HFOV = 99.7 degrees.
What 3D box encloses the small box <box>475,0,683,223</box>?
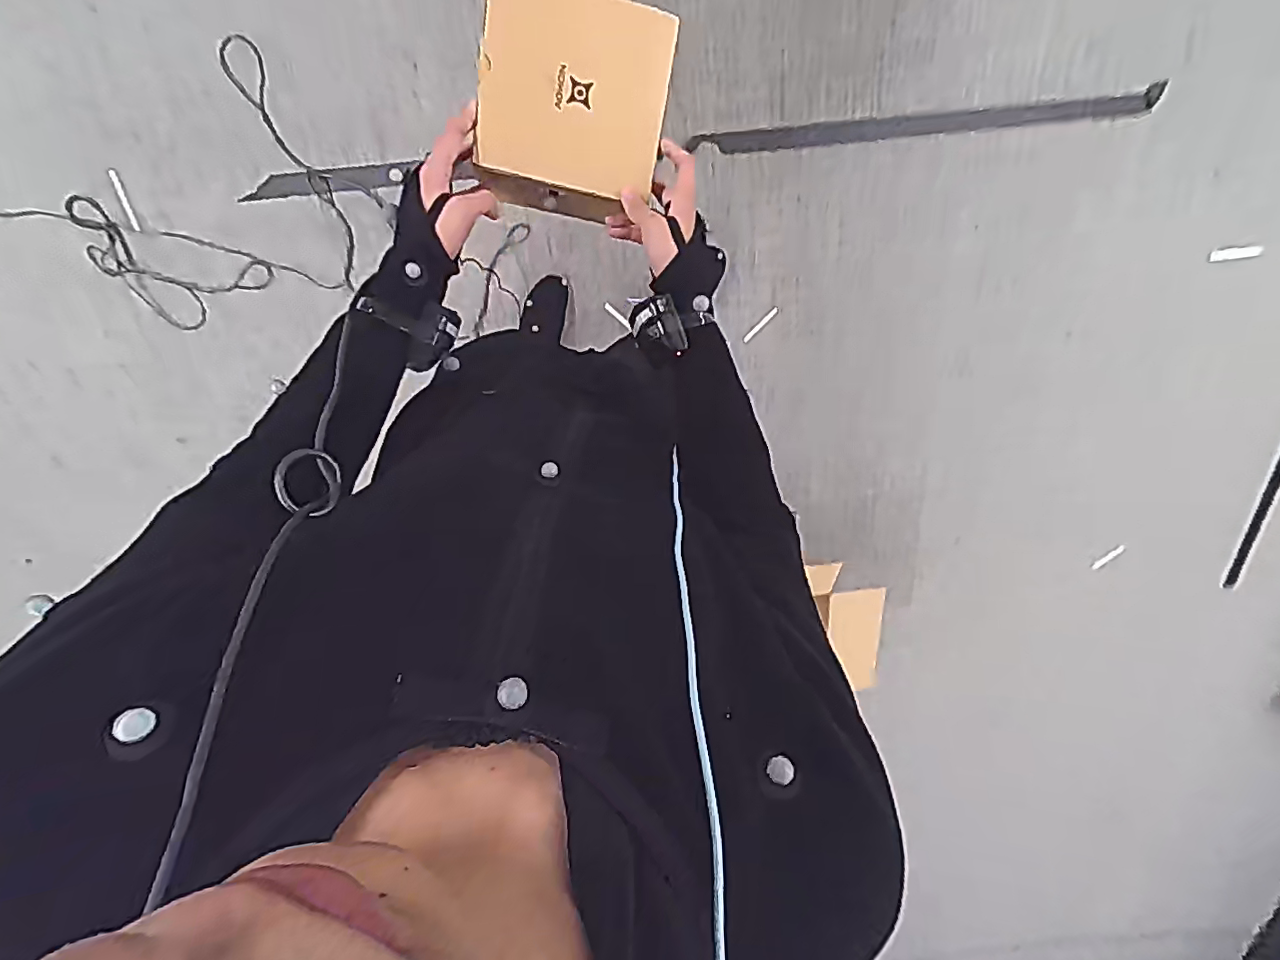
[{"bbox_3d":[-0.072,-0.385,0.578,0.179,0.176,0.168,6,107,-13],"label":"small box"}]
